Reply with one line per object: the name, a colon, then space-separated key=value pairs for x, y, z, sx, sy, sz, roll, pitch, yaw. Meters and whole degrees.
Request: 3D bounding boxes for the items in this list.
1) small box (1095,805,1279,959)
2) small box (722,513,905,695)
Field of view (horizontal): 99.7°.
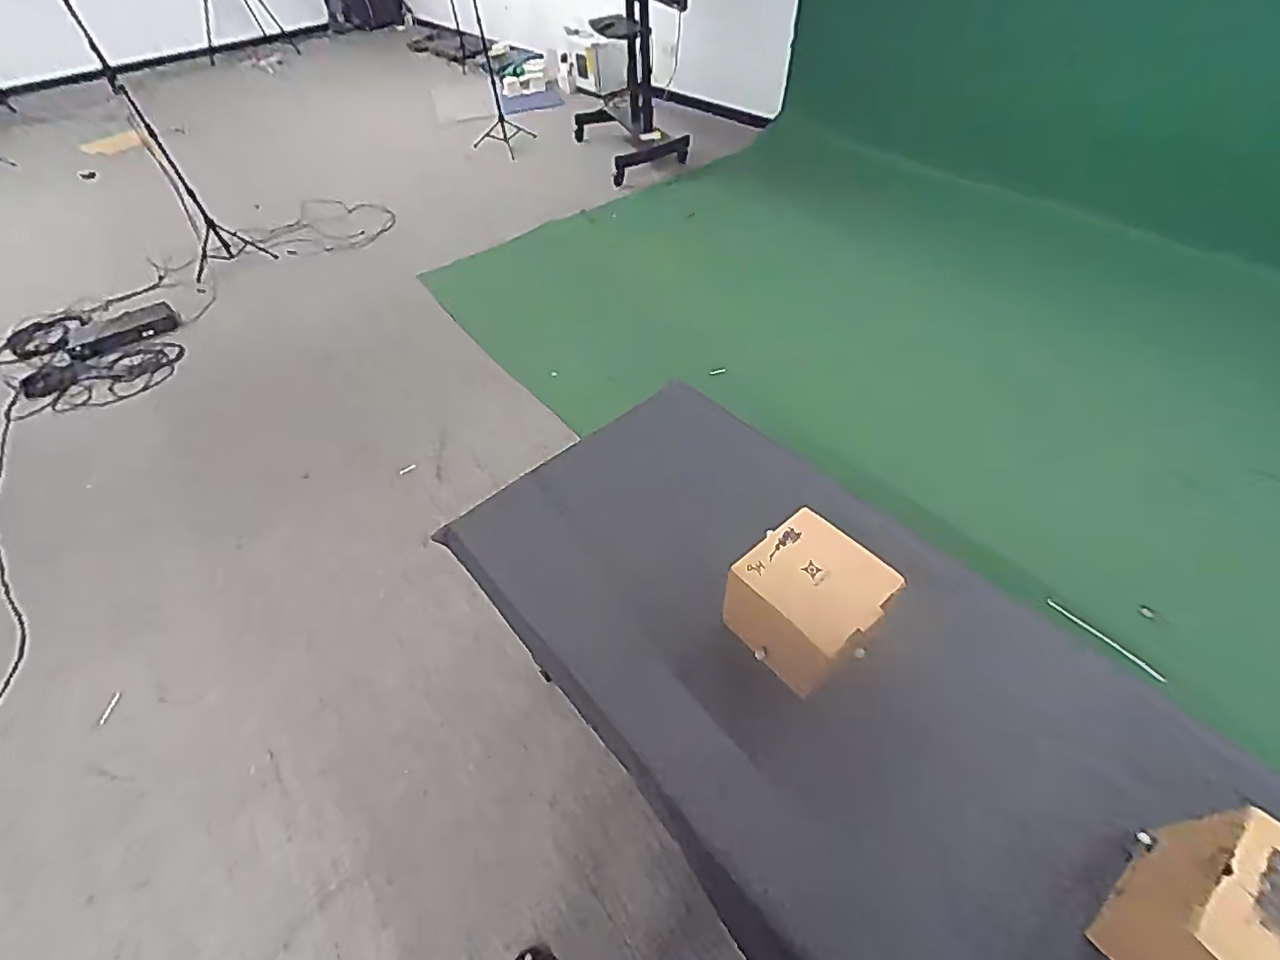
small box: x=0.621 y=0.475 z=0.541 sx=0.168 sy=0.176 sz=0.179 roll=-32 pitch=56 yaw=-24
small box: x=0.244 y=0.190 z=0.800 sx=0.168 sy=0.176 sz=0.179 roll=-33 pitch=57 yaw=-25
